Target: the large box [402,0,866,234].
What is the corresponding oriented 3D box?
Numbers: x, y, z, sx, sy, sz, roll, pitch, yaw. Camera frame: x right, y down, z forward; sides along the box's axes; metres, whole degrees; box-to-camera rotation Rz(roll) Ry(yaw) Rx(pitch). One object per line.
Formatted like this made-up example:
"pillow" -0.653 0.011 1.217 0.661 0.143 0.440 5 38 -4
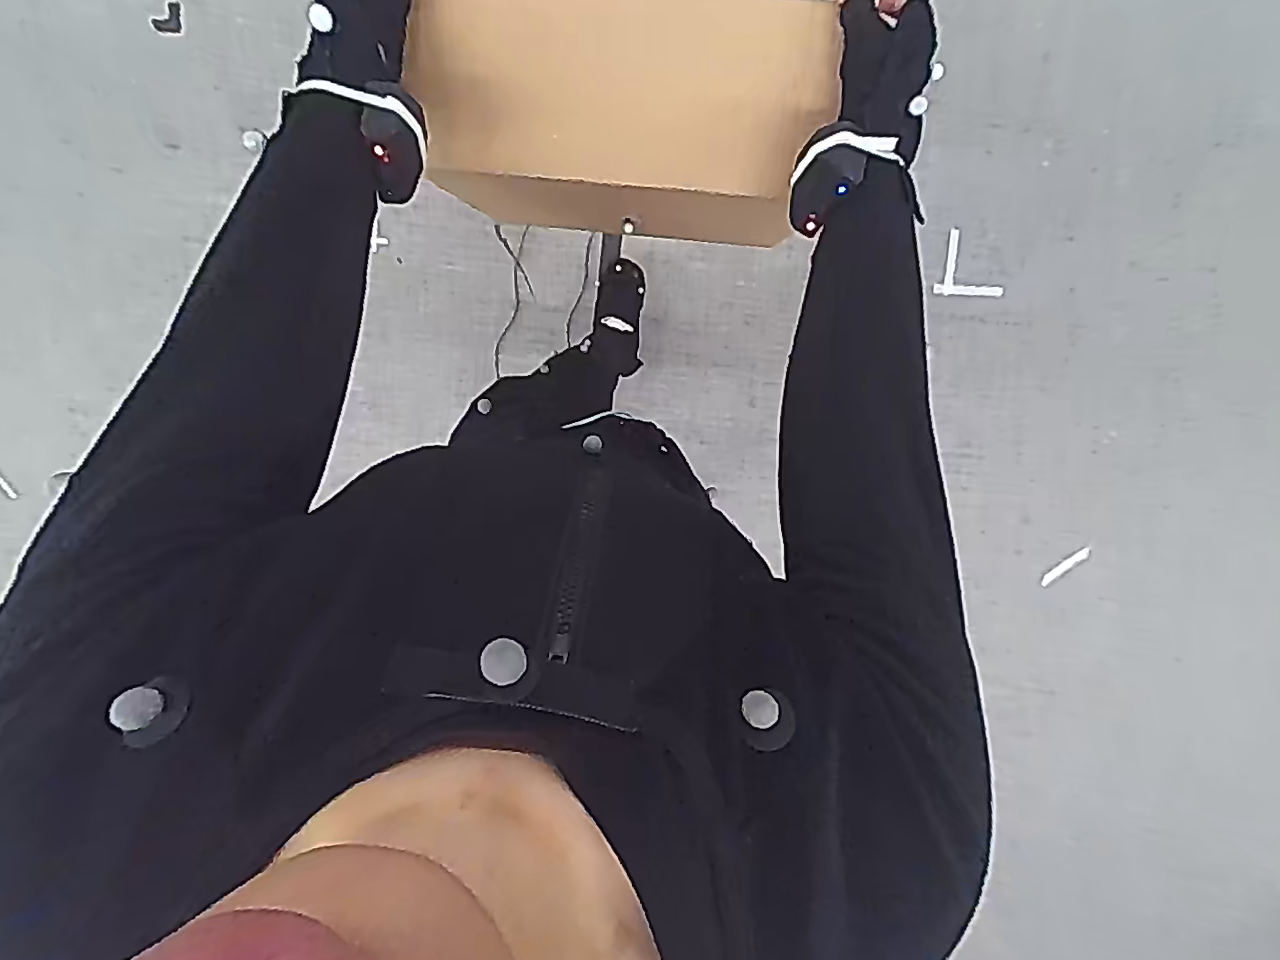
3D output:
"large box" 0.001 -0.469 0.599 0.408 0.320 0.320 5 106 0
